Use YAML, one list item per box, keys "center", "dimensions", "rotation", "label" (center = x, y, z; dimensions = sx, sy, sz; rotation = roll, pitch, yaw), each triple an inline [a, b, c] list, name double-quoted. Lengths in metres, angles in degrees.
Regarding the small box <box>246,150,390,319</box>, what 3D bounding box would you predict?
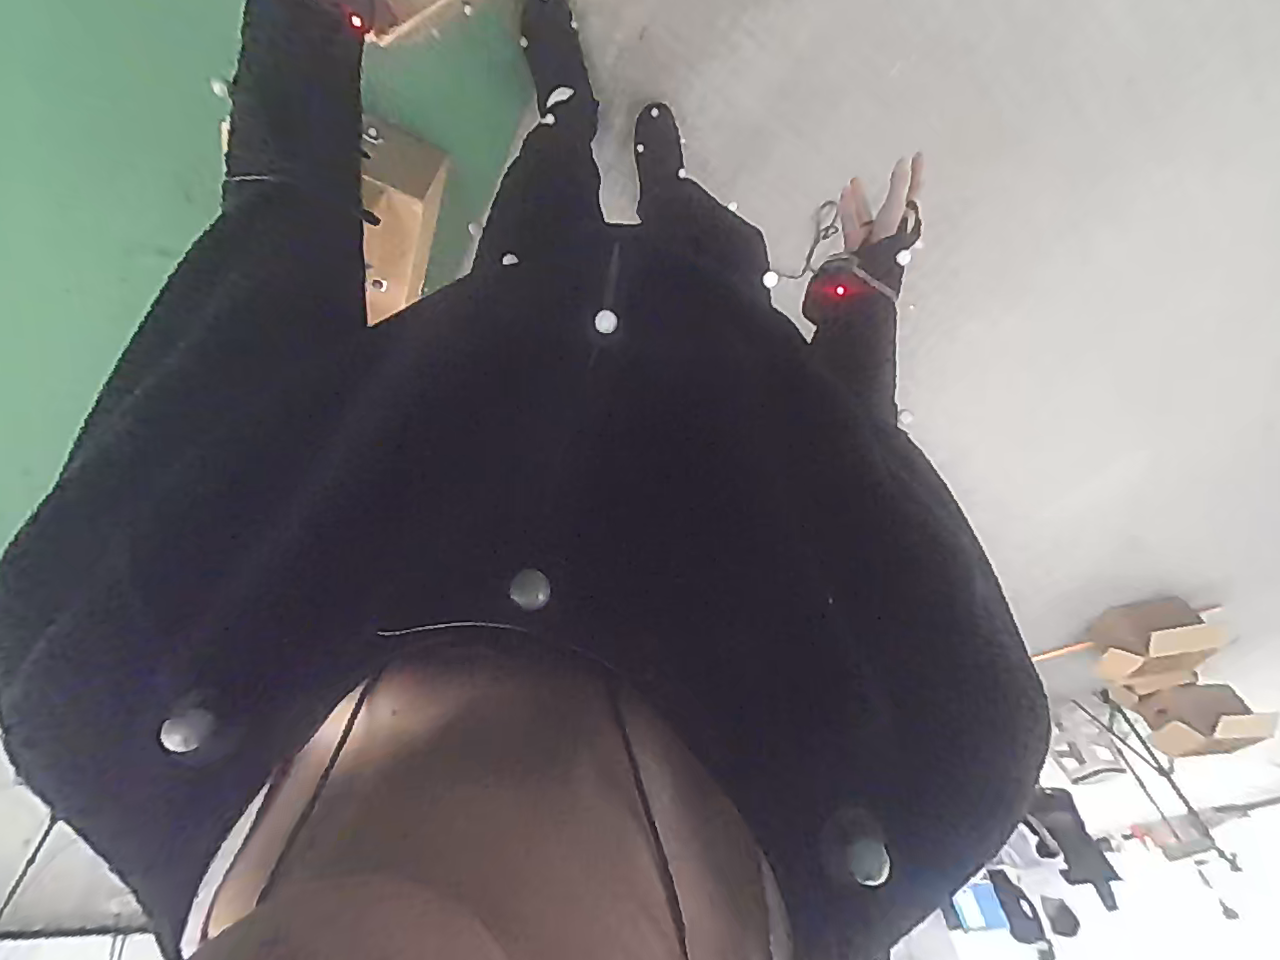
- center: [-0.533, -0.410, 0.907]
  dimensions: [0.168, 0.176, 0.179]
  rotation: [15, 130, -22]
  label: "small box"
